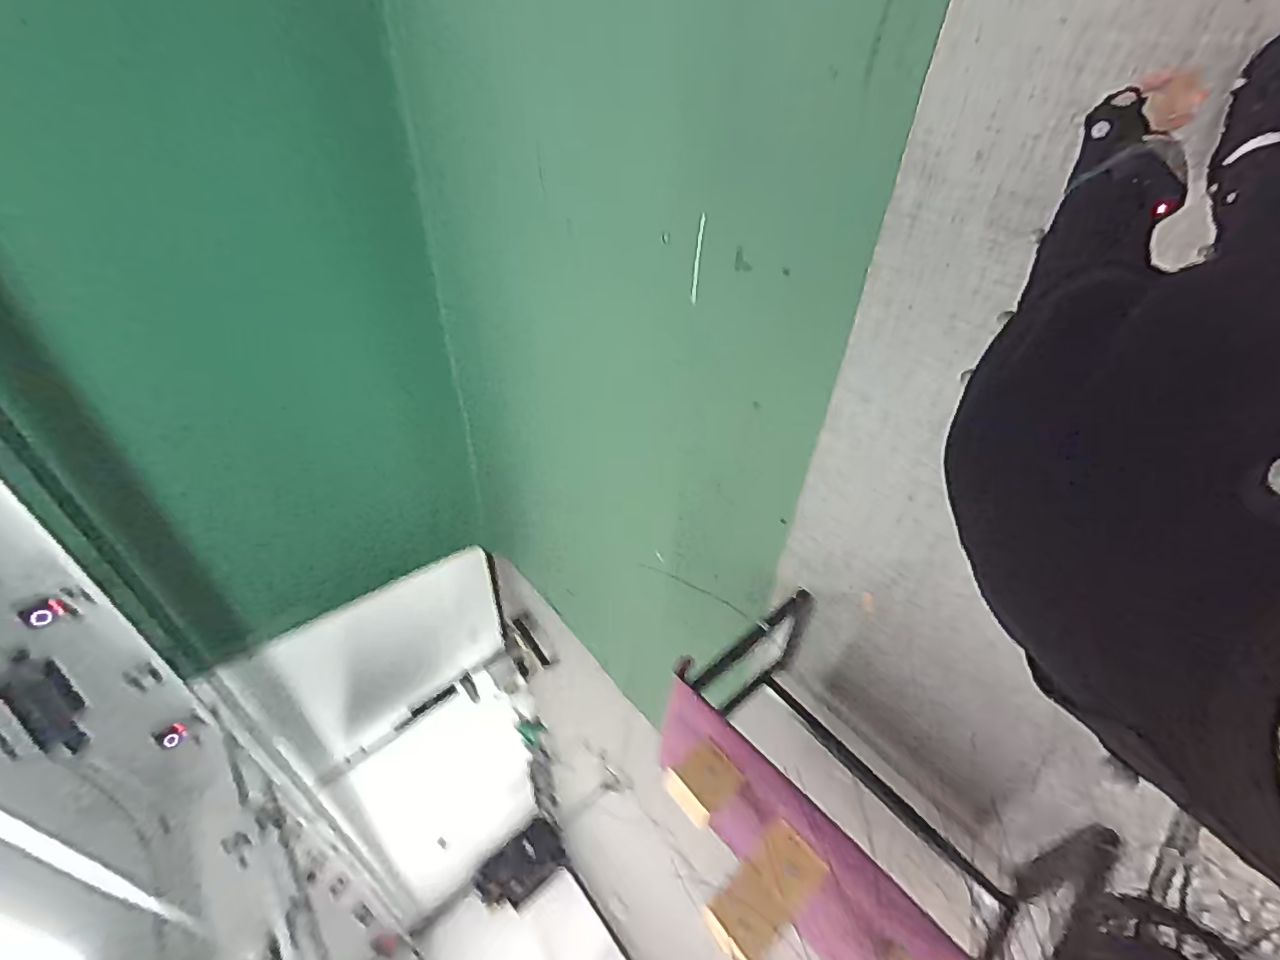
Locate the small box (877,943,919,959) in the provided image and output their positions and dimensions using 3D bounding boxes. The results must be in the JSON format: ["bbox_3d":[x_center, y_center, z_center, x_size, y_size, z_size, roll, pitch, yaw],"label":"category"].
[{"bbox_3d":[0.660,1.326,1.359,0.168,0.176,0.179,37,139,35],"label":"small box"}]

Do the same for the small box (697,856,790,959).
[{"bbox_3d":[0.283,1.188,1.486,0.179,0.176,0.168,40,142,33],"label":"small box"}]

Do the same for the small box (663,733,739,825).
[{"bbox_3d":[0.198,0.958,1.745,0.168,0.176,0.179,40,143,31],"label":"small box"}]

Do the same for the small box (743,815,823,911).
[{"bbox_3d":[0.406,1.124,1.574,0.168,0.176,0.179,37,141,35],"label":"small box"}]
